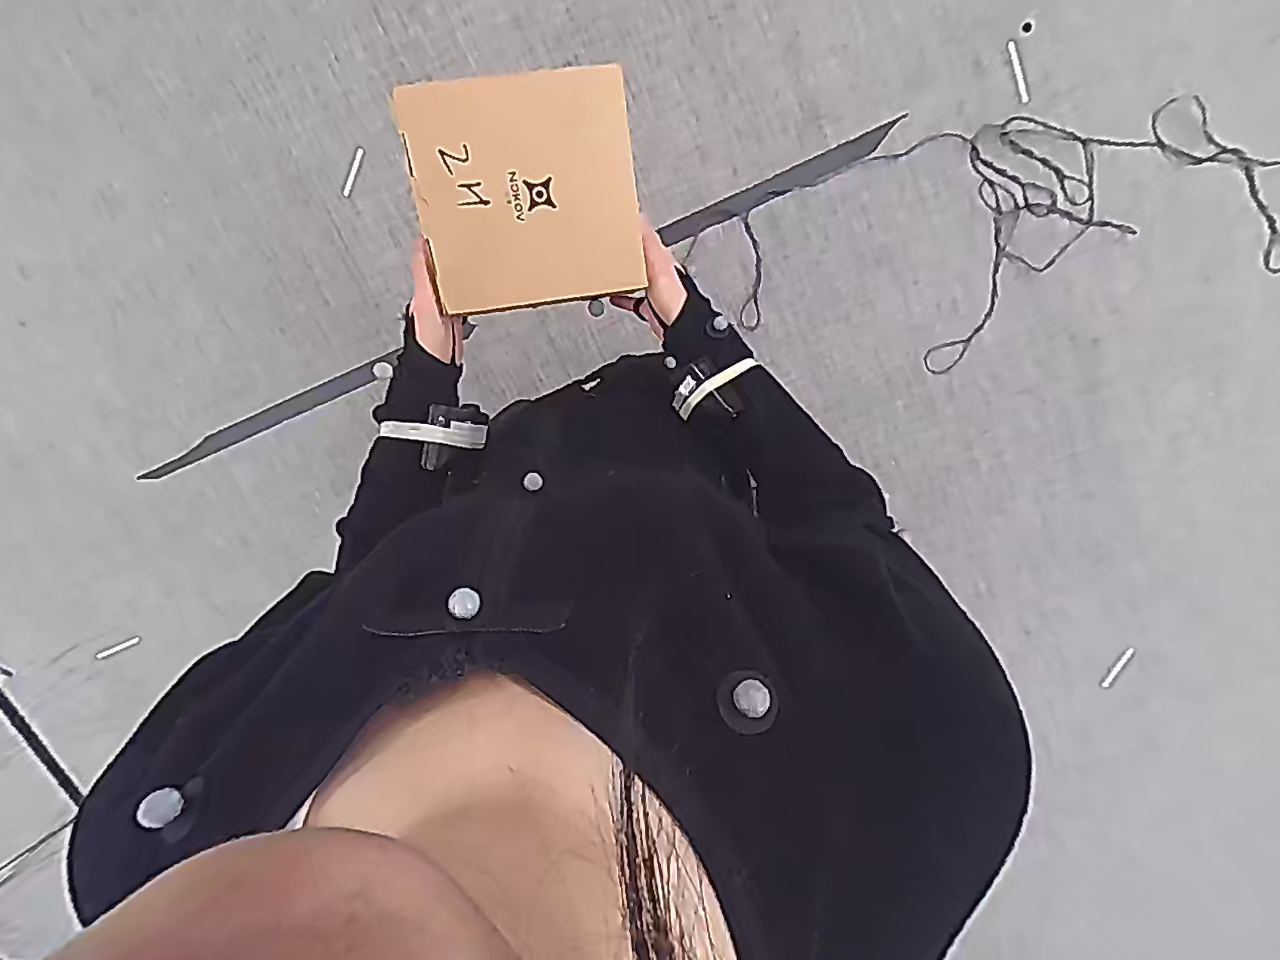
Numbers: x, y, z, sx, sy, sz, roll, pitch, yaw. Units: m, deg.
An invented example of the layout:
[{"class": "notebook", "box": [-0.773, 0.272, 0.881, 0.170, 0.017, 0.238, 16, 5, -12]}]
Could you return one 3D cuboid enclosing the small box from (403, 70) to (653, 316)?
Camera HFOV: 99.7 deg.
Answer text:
[{"class": "small box", "box": [-0.094, -0.249, 0.506, 0.179, 0.176, 0.168, -9, 107, -5]}]
